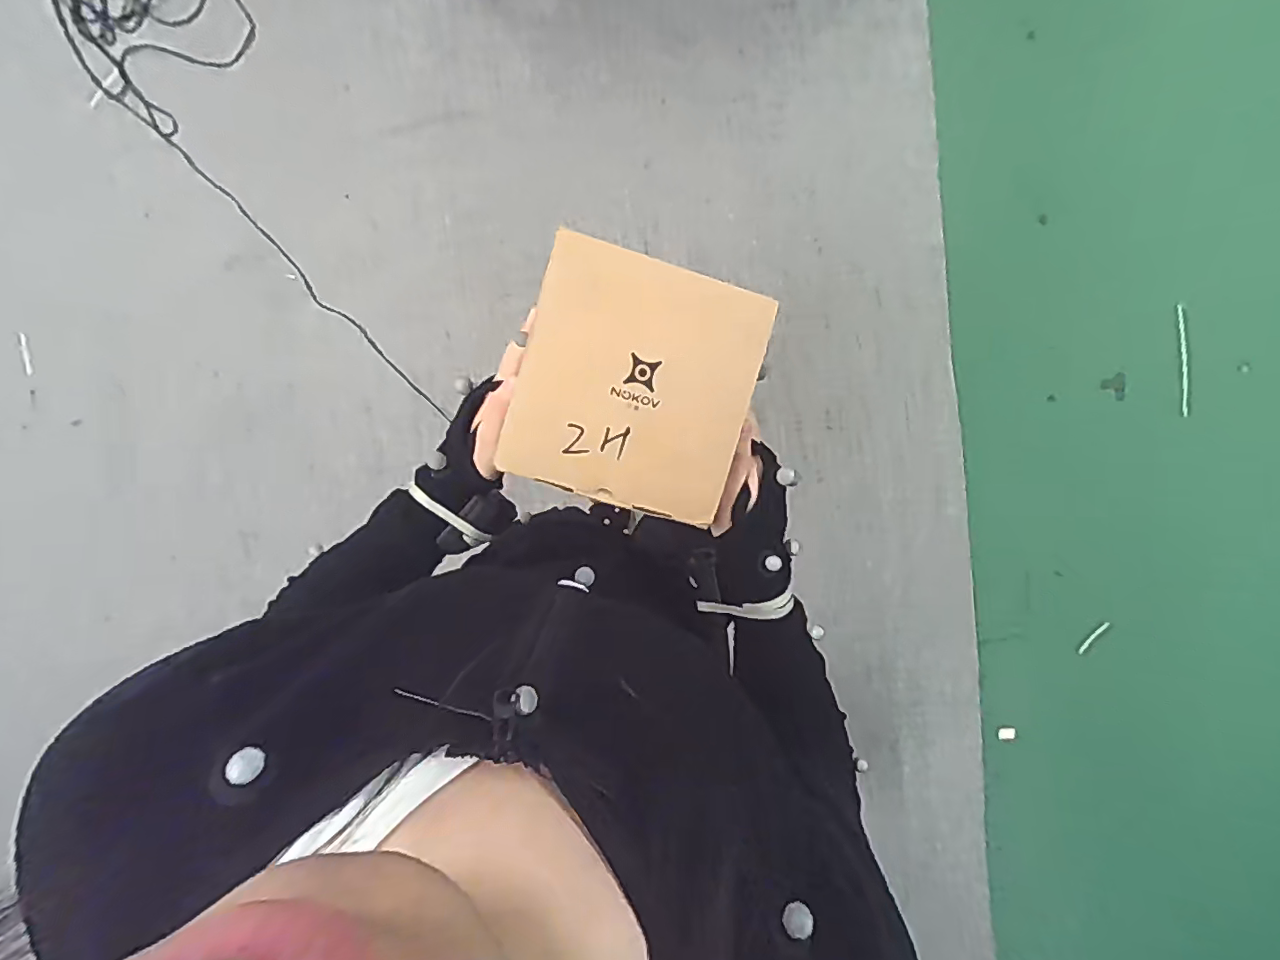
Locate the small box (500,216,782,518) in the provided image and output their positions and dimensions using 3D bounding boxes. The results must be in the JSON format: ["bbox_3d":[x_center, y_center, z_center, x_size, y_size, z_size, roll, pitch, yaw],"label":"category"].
[{"bbox_3d":[-0.006,-0.082,0.459,0.168,0.176,0.179,16,92,-6],"label":"small box"}]
